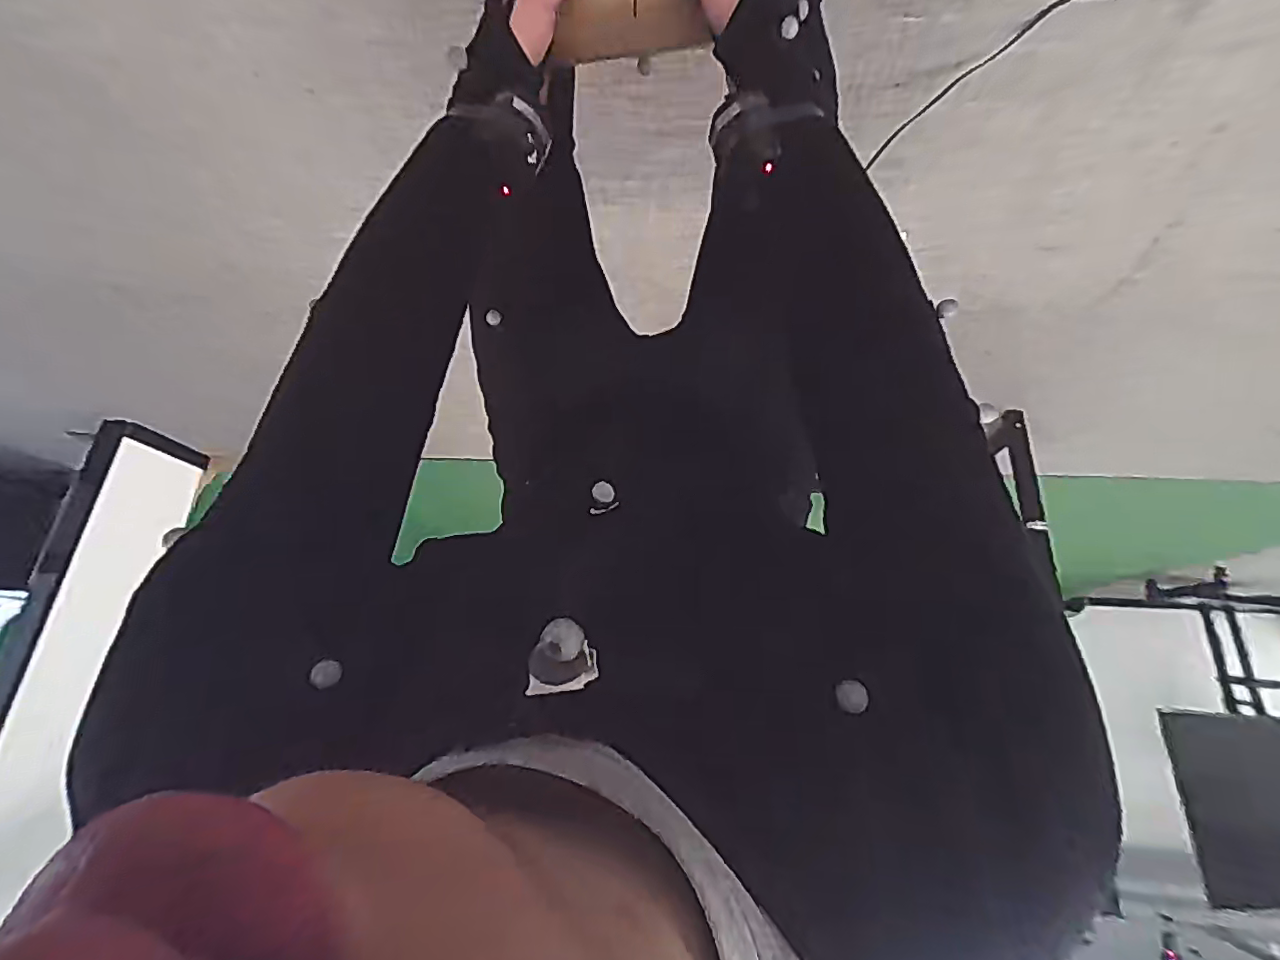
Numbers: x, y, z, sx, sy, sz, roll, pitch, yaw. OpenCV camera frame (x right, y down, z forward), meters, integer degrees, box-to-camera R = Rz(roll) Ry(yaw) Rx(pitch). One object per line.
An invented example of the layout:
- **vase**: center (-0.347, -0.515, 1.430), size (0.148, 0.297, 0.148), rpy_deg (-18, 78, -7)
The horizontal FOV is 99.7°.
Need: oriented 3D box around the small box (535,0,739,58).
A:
- **small box**: center (-0.003, -0.479, 0.462), size (0.168, 0.176, 0.179), rpy_deg (-1, 129, 8)
